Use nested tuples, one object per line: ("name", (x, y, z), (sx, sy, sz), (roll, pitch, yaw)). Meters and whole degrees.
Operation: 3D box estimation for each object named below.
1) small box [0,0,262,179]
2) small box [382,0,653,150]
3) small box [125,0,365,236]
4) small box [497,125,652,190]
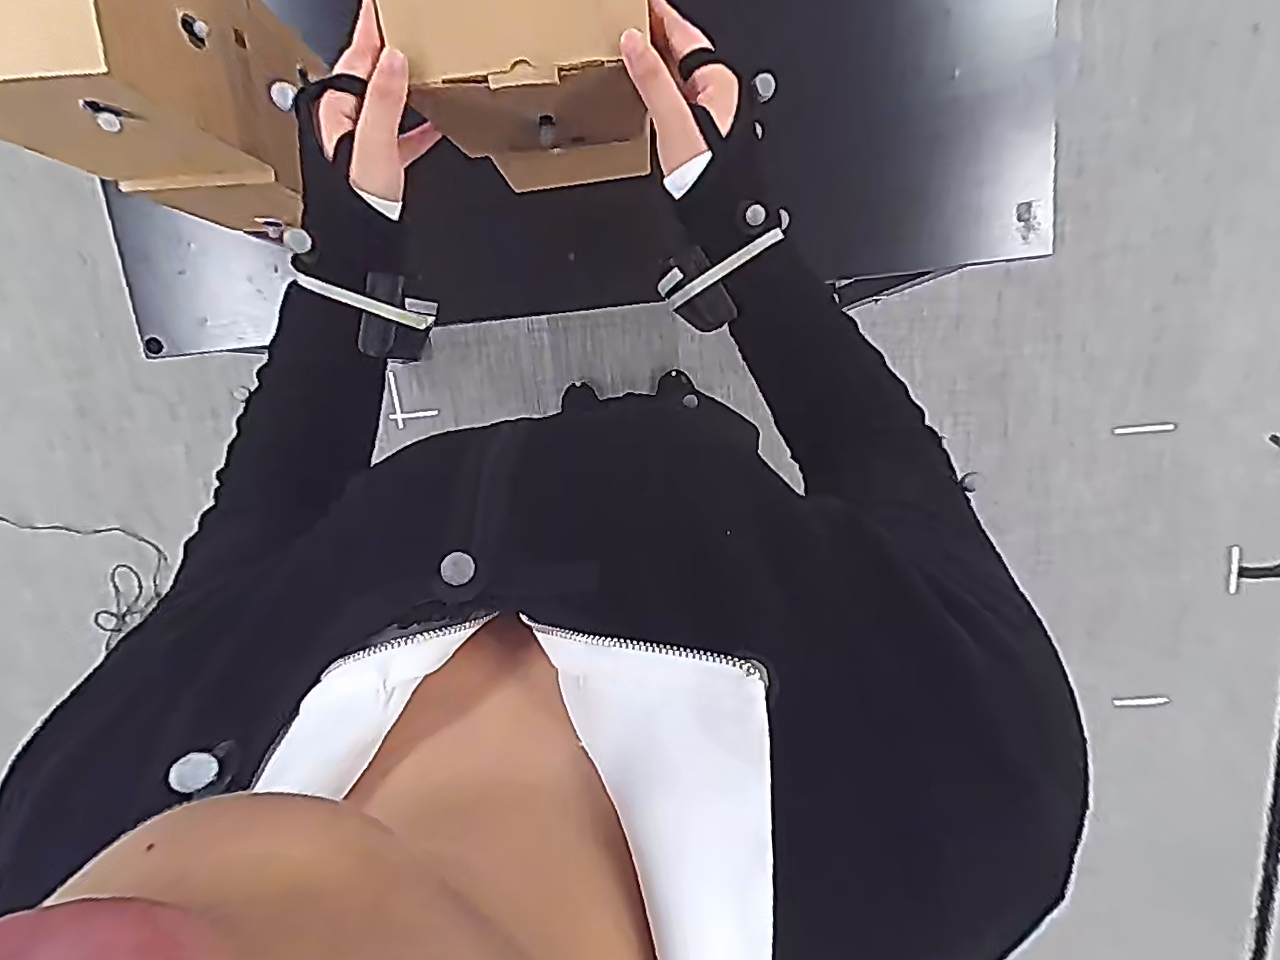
("small box", (-0.454, -0.372, 0.450), (0.179, 0.176, 0.168), (-2, 99, 3))
("small box", (-0.078, -0.356, 0.390), (0.168, 0.176, 0.179), (-5, 109, 2))
("small box", (-0.443, -0.395, 0.614), (0.168, 0.176, 0.179), (-2, 101, 3))
("small box", (-0.082, -0.440, 0.594), (0.179, 0.176, 0.168), (-7, 100, 2))
